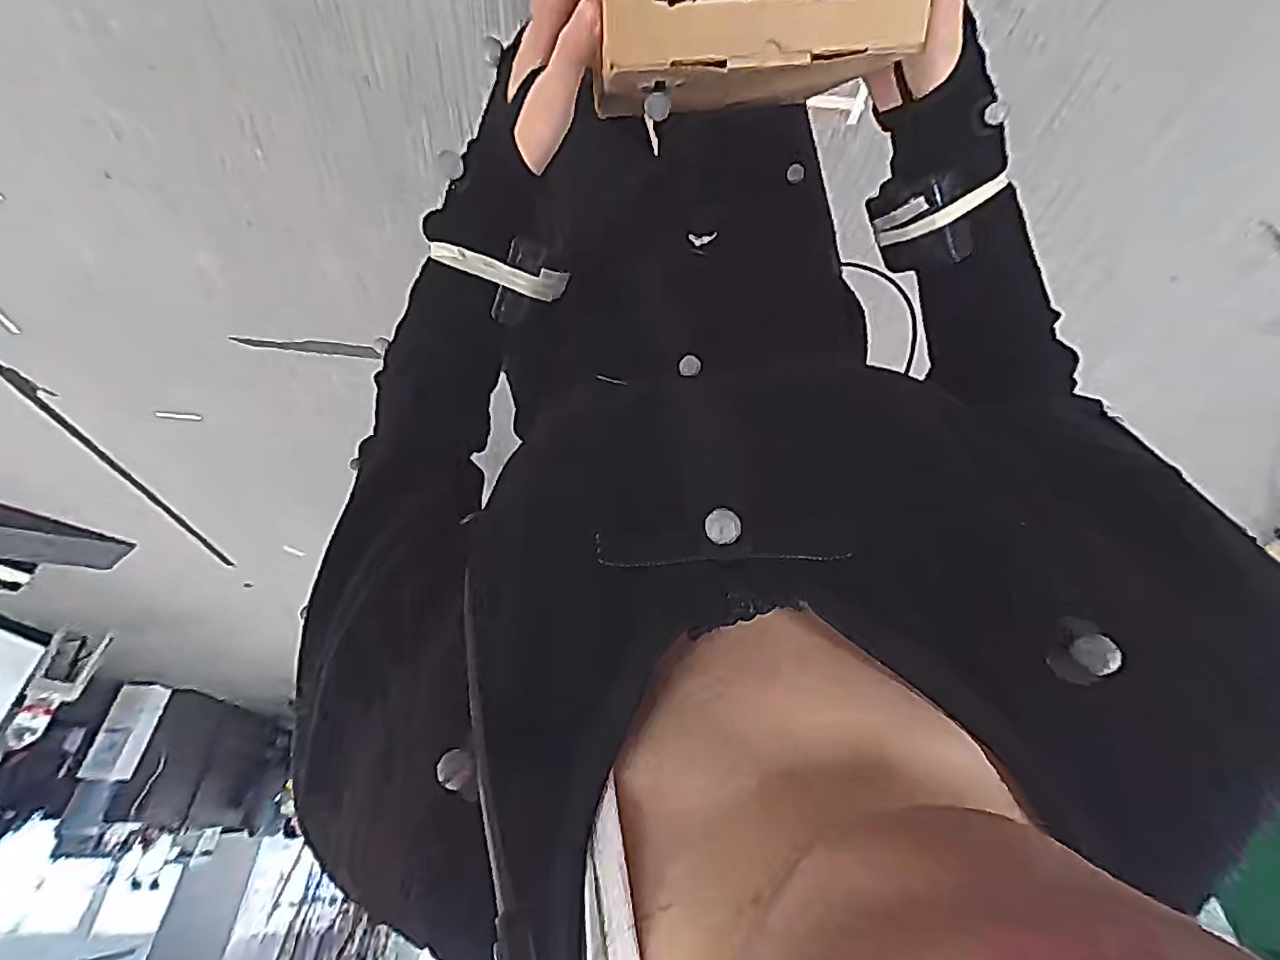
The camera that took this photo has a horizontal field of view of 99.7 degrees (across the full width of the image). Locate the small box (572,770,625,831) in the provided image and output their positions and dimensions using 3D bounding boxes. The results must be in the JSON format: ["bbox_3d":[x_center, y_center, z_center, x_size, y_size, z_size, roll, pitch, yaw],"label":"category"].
[{"bbox_3d":[-0.145,1.118,1.883,0.168,0.176,0.179,5,145,-7],"label":"small box"}]
